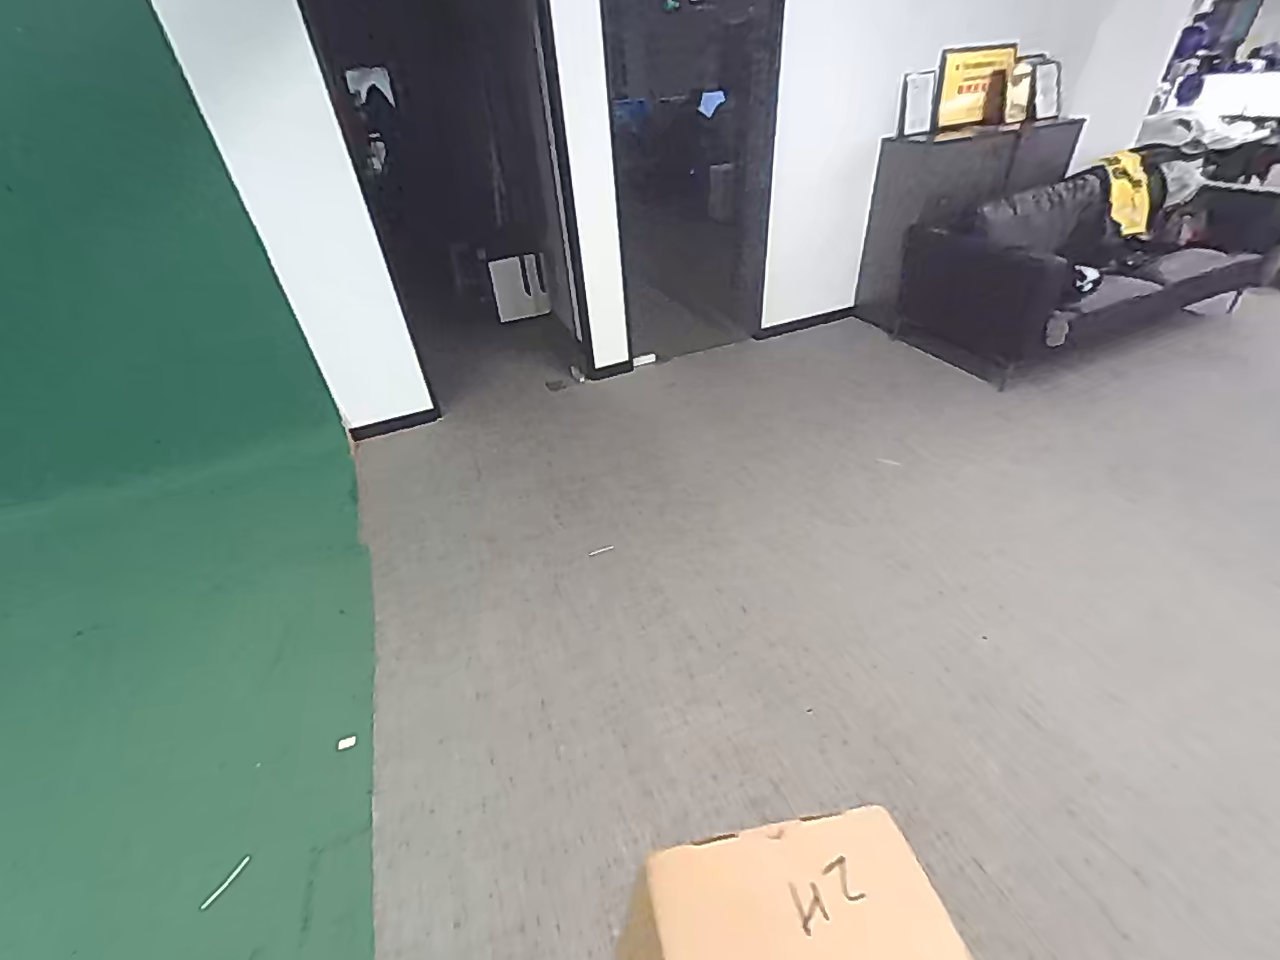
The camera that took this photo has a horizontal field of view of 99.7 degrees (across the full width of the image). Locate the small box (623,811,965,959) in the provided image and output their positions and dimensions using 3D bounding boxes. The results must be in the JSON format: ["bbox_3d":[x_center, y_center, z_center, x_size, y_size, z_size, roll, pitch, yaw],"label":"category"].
[{"bbox_3d":[0.089,0.333,0.314,0.168,0.176,0.179,0,34,-14],"label":"small box"}]
